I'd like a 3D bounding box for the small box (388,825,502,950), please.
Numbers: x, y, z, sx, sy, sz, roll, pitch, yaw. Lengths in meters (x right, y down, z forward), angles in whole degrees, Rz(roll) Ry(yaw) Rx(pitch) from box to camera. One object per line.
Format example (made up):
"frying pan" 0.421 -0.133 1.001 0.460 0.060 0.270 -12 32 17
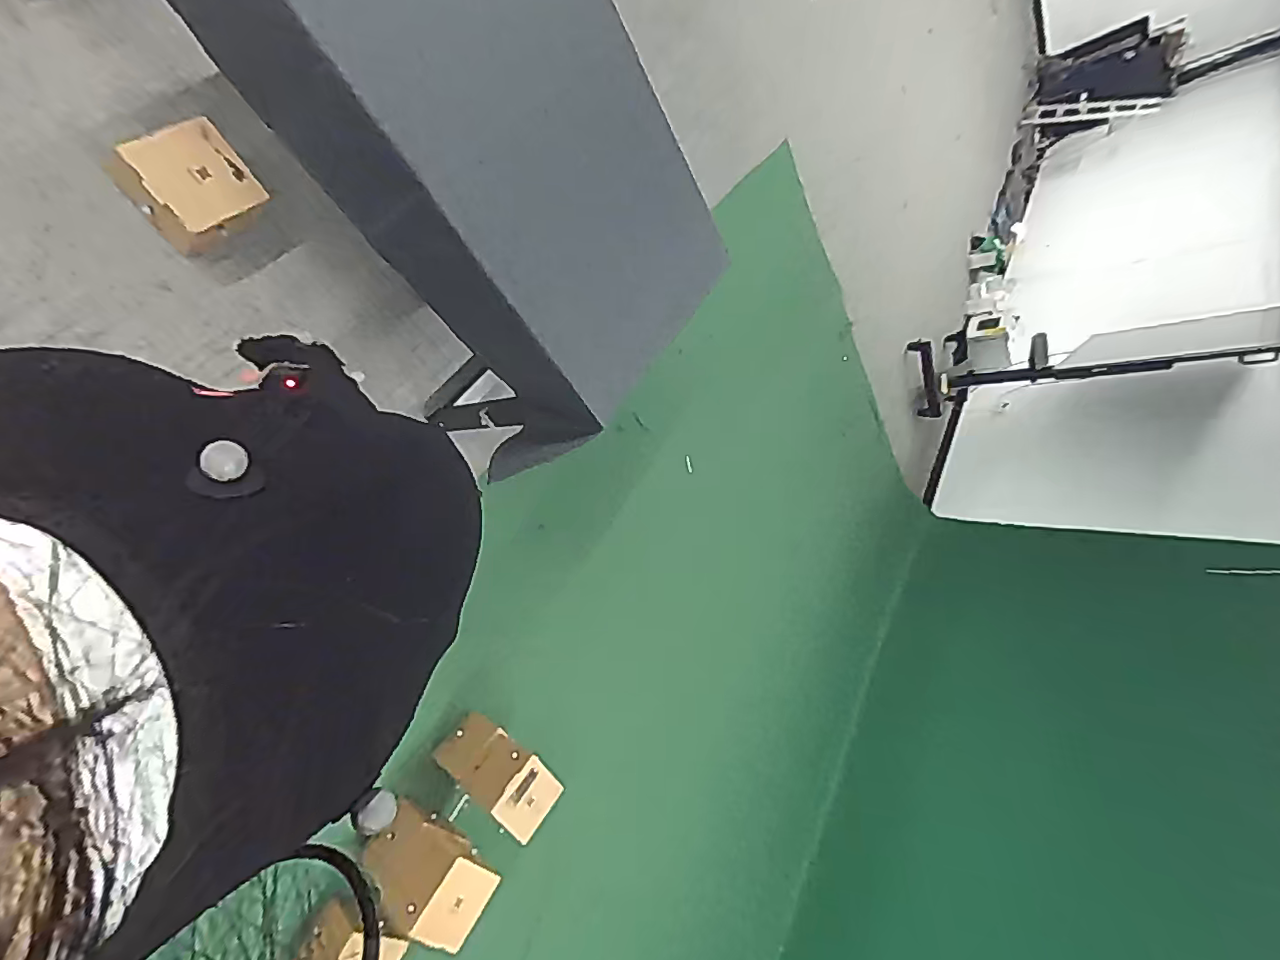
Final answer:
"small box" -0.488 1.007 1.348 0.179 0.176 0.168 -55 127 -28

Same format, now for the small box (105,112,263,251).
"small box" -0.913 -0.592 1.090 0.179 0.176 0.168 -52 125 -30

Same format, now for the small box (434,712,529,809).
"small box" -0.468 0.817 1.595 0.168 0.176 0.179 -46 121 -35

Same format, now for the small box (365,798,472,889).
"small box" -0.603 0.994 1.463 0.179 0.176 0.168 52 57 -34

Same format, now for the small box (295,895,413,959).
"small box" -0.718 1.184 1.354 0.179 0.176 0.168 49 59 -35
